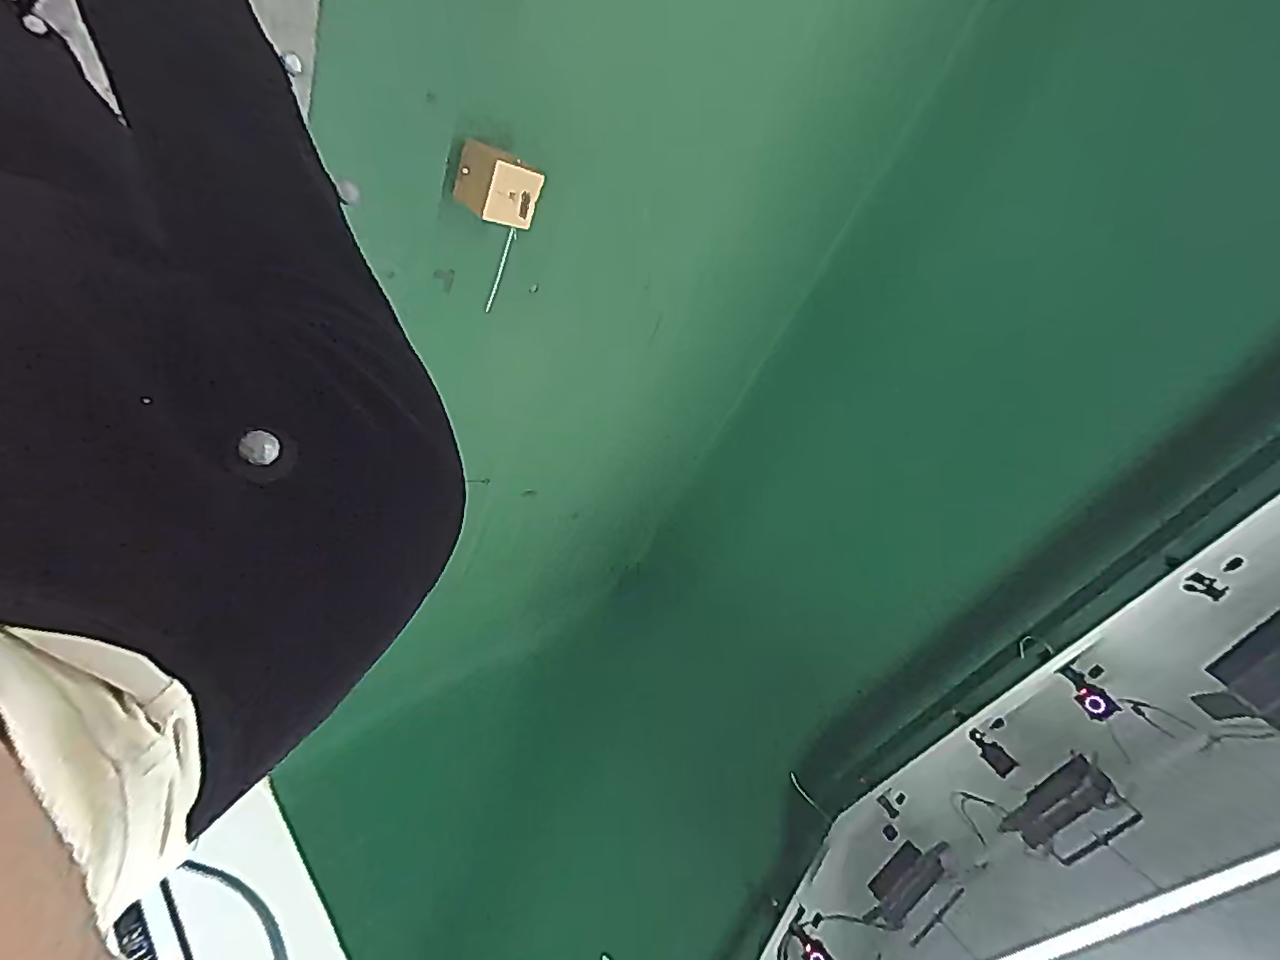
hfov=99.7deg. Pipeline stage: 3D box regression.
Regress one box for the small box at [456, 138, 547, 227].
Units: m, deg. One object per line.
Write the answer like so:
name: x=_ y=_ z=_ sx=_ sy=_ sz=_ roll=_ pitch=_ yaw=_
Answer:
small box: x=-0.416 y=-0.889 z=1.617 sx=0.179 sy=0.176 sz=0.168 roll=-14 pitch=140 yaw=-49
